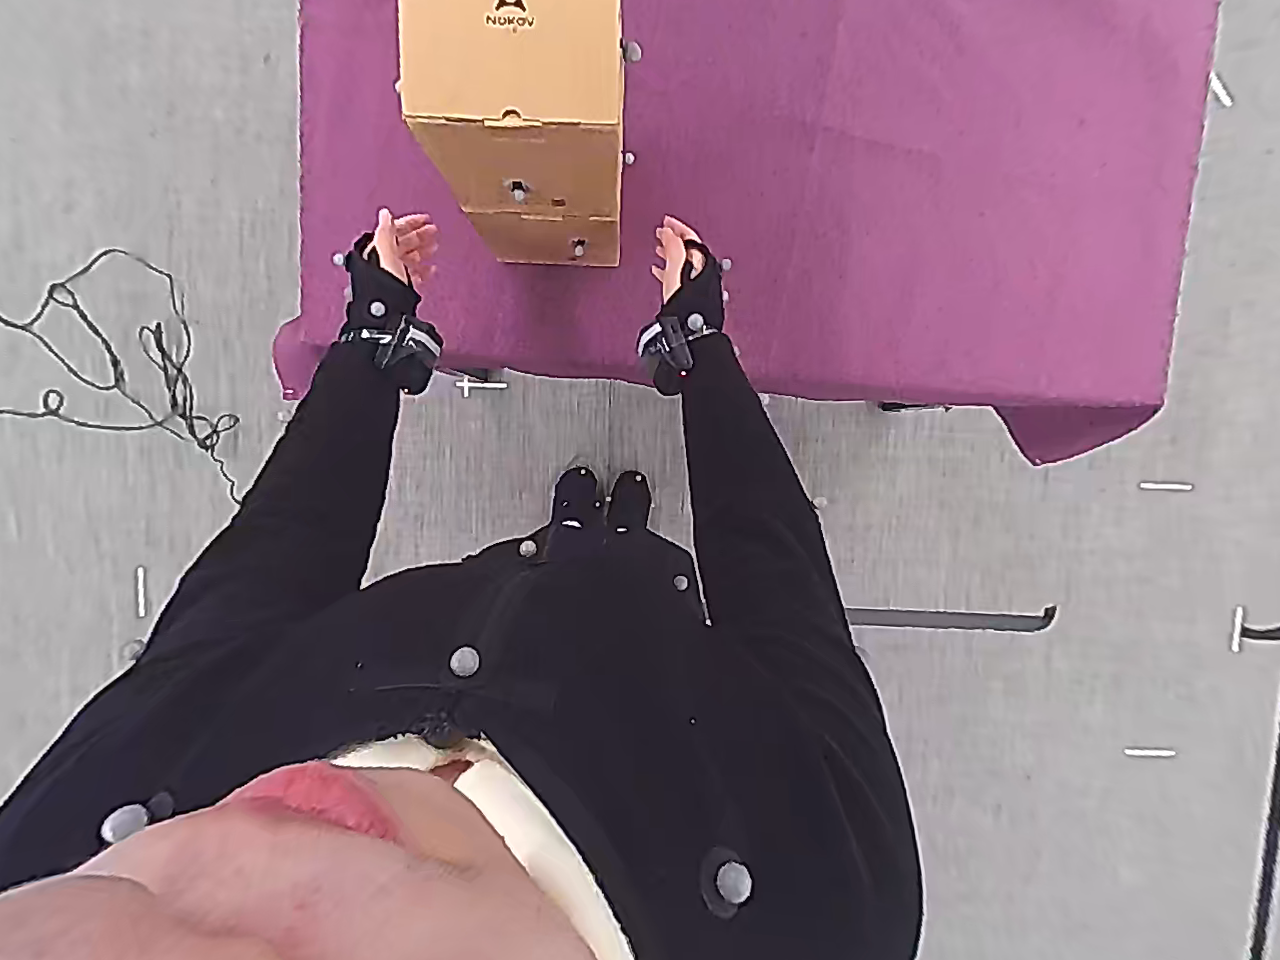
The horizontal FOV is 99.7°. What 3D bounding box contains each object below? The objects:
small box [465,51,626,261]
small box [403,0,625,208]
[{"bbox_3d":[-0.102,-0.375,0.644,0.168,0.176,0.179,2,95,-3],"label":"small box"},{"bbox_3d":[-0.099,-0.366,0.482,0.168,0.176,0.179,0,96,-3],"label":"small box"}]
